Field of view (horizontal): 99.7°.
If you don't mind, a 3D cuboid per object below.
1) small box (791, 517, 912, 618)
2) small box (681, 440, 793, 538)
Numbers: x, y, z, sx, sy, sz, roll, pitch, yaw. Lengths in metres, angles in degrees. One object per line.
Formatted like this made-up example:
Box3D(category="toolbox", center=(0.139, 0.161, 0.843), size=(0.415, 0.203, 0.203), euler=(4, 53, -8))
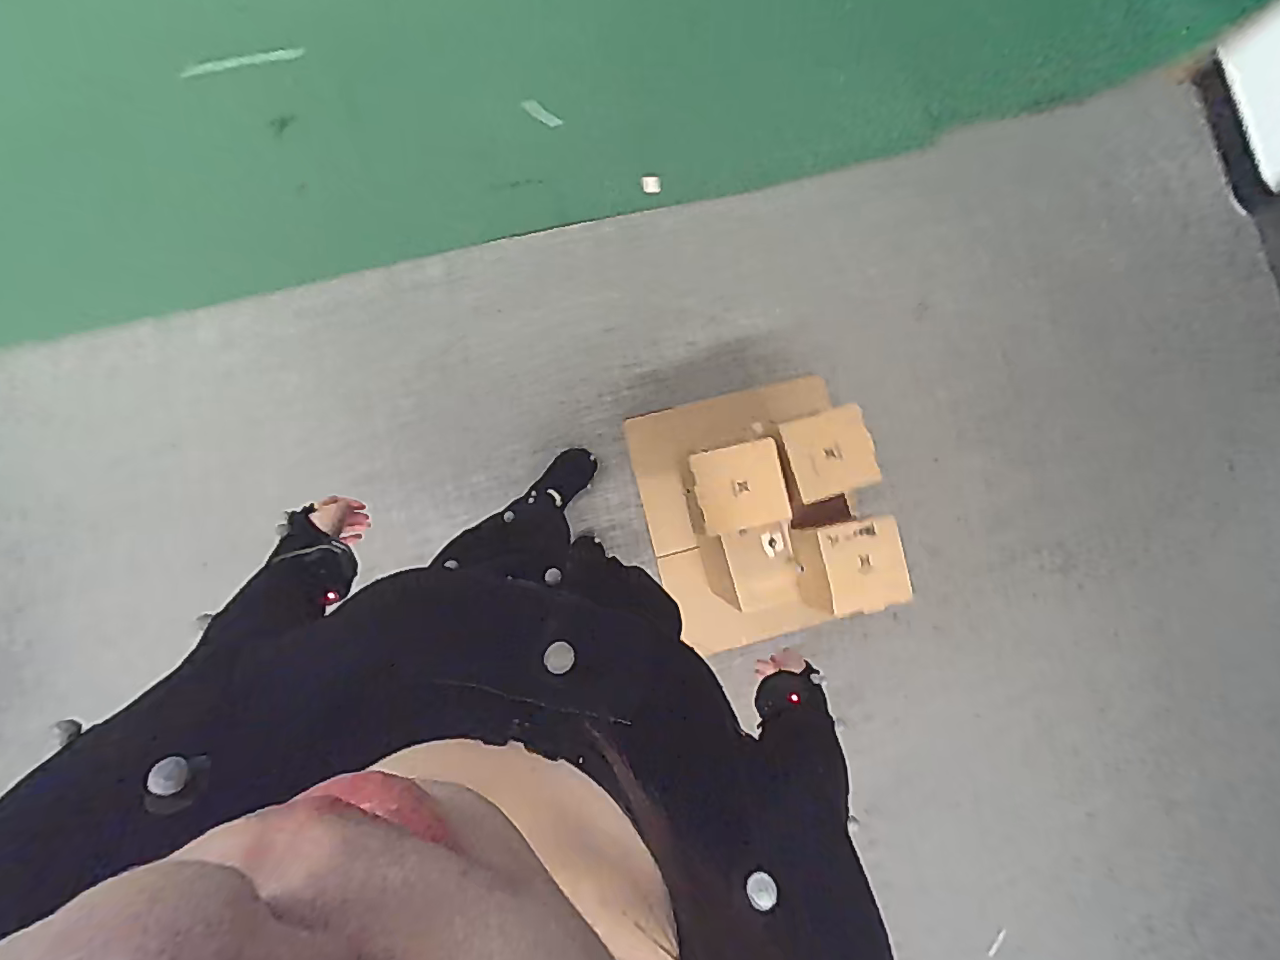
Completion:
Box3D(category="small box", center=(0.437, 0.177, 1.141), size=(0.168, 0.176, 0.179), euler=(-10, 87, -5))
Box3D(category="small box", center=(0.196, 0.019, 1.134), size=(0.179, 0.176, 0.168), euler=(-13, 88, -3))
